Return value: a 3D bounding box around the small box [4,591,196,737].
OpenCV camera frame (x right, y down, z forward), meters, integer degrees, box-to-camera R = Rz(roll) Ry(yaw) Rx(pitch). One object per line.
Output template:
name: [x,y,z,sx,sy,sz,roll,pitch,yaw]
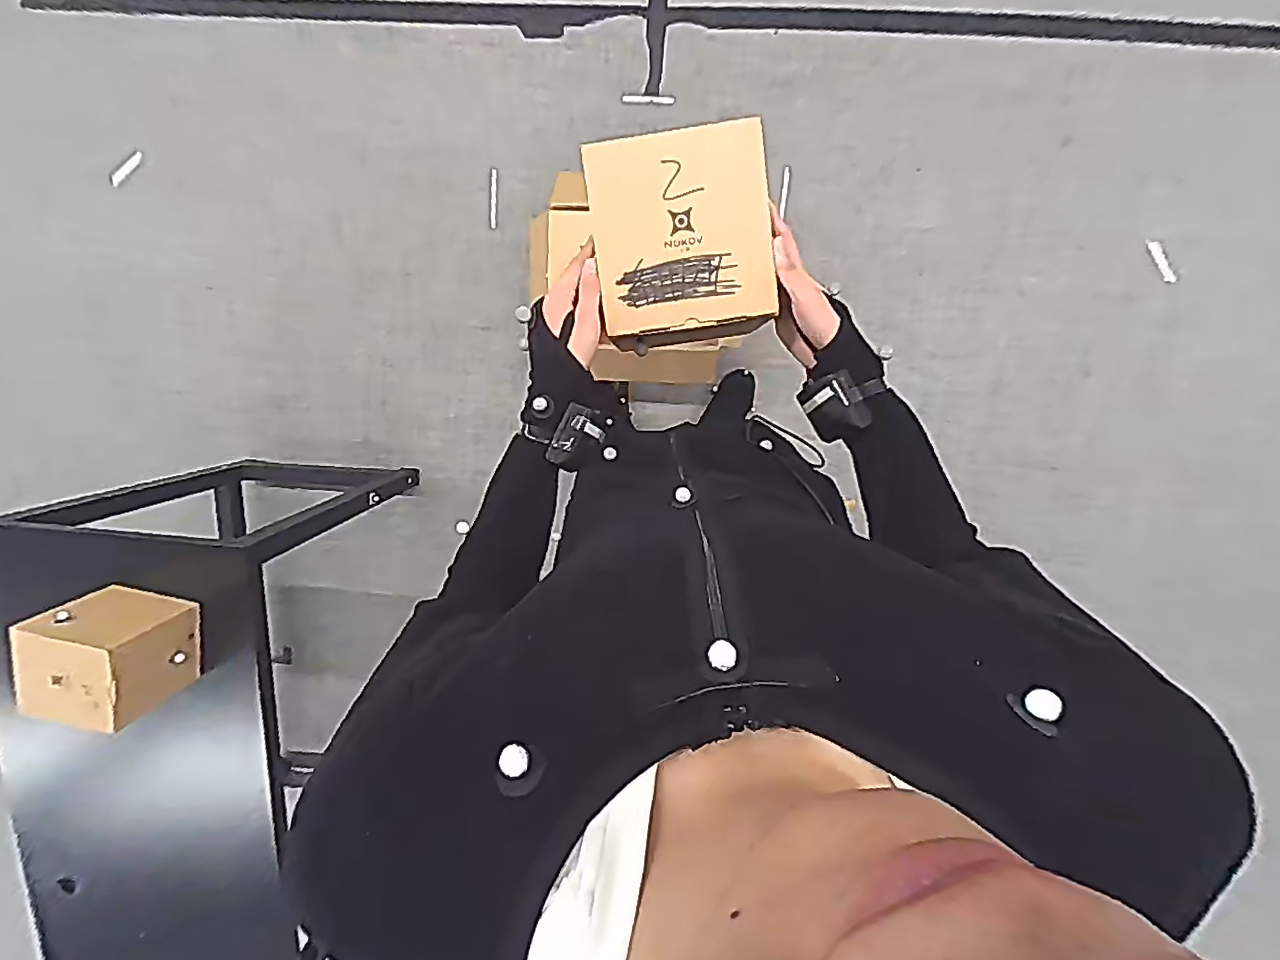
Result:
small box: [-0.942,0.314,0.957,0.179,0.176,0.168,12,104,1]
